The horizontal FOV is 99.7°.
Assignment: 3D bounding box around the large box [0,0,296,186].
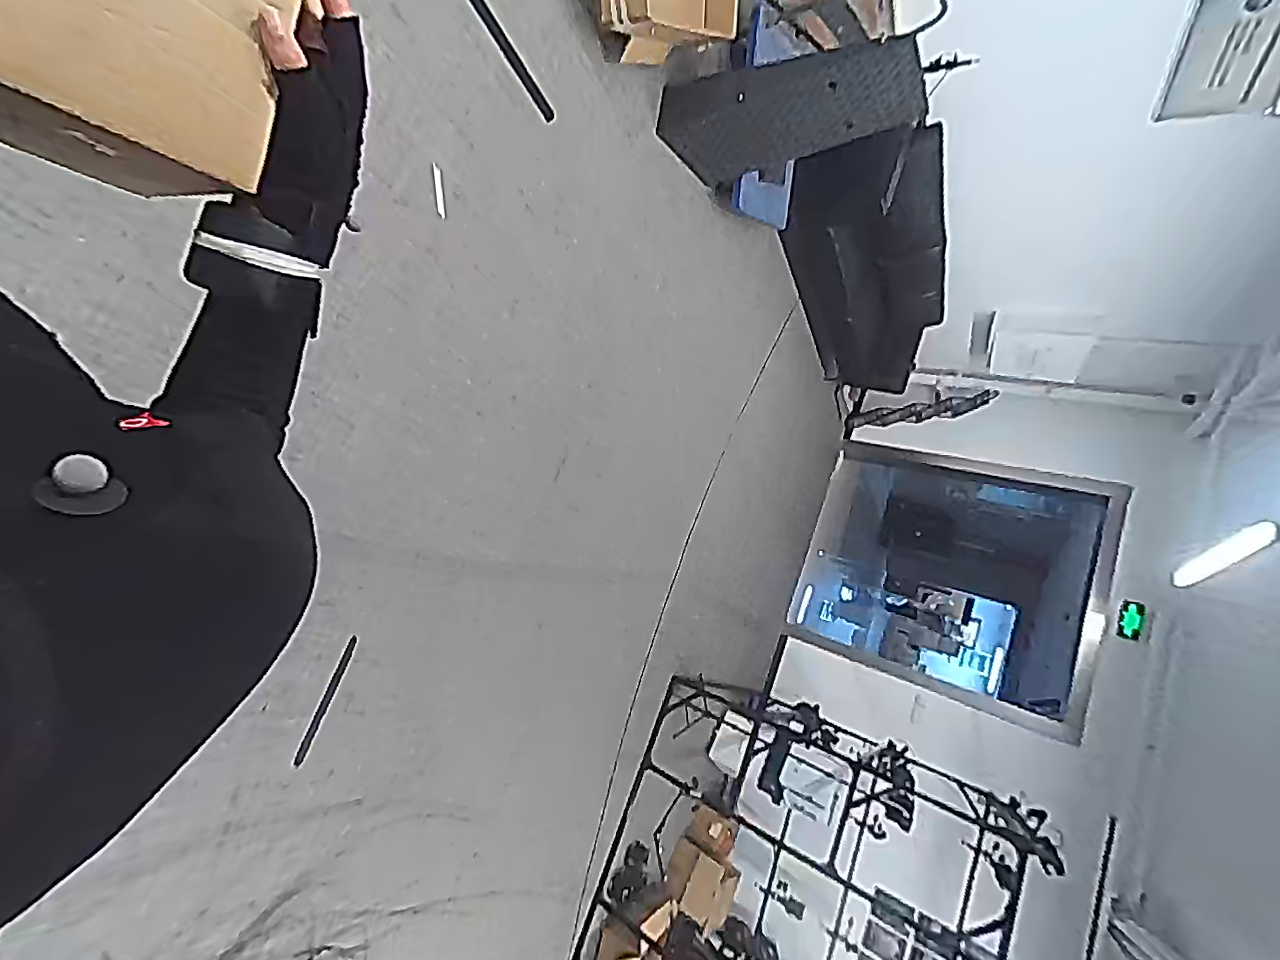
[{"bbox_3d":[-0.454,-0.410,0.286,0.408,0.320,0.320,9,101,-55],"label":"large box"}]
